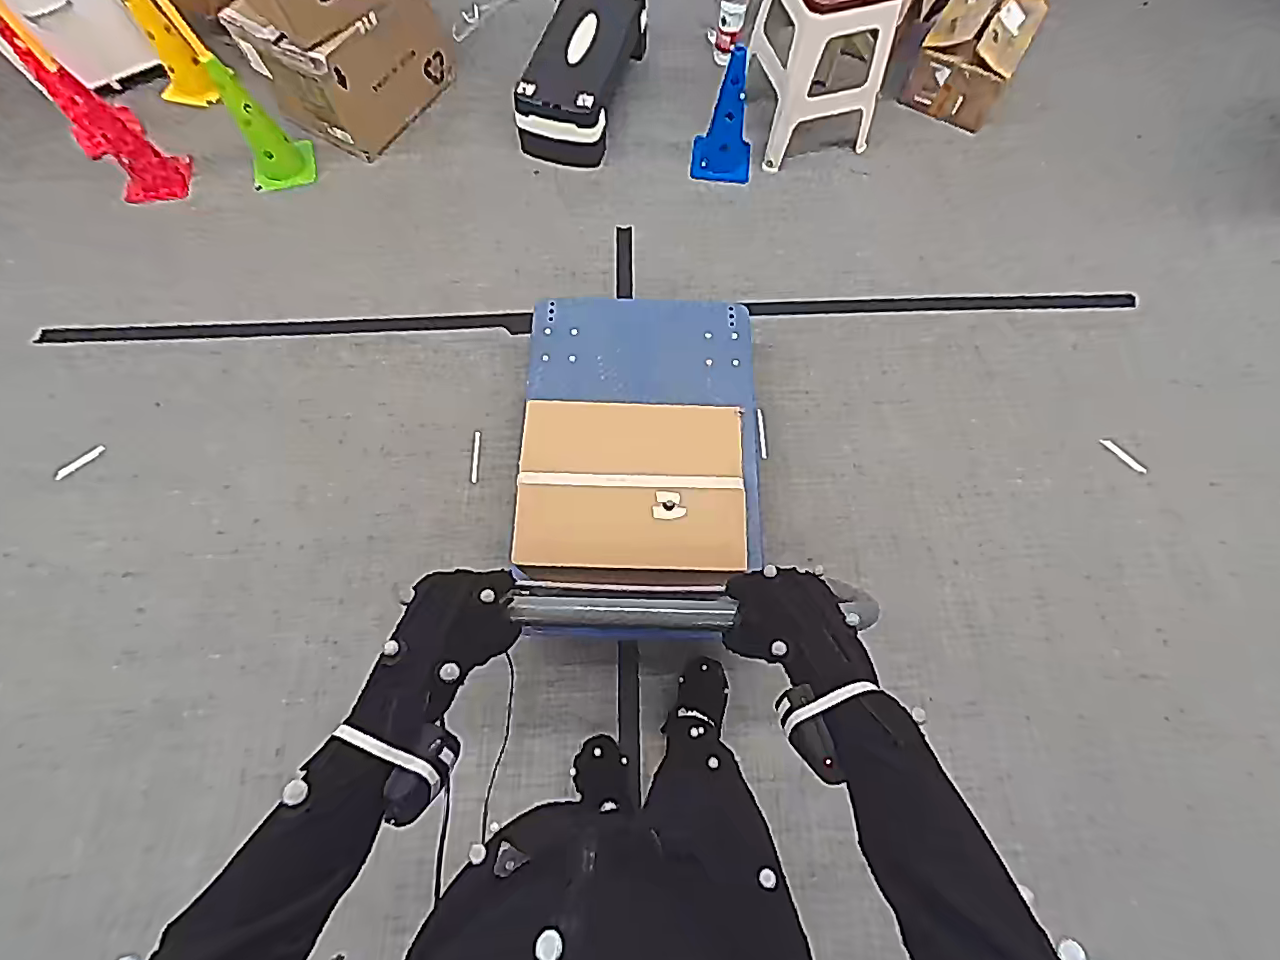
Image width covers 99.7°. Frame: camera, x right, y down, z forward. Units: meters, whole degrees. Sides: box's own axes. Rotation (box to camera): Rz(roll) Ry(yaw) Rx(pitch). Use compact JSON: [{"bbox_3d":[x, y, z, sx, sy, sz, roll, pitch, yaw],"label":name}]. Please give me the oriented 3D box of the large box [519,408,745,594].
[{"bbox_3d":[-0.019,0.060,1.130,0.408,0.320,0.320,2,71,-2],"label":"large box"}]
